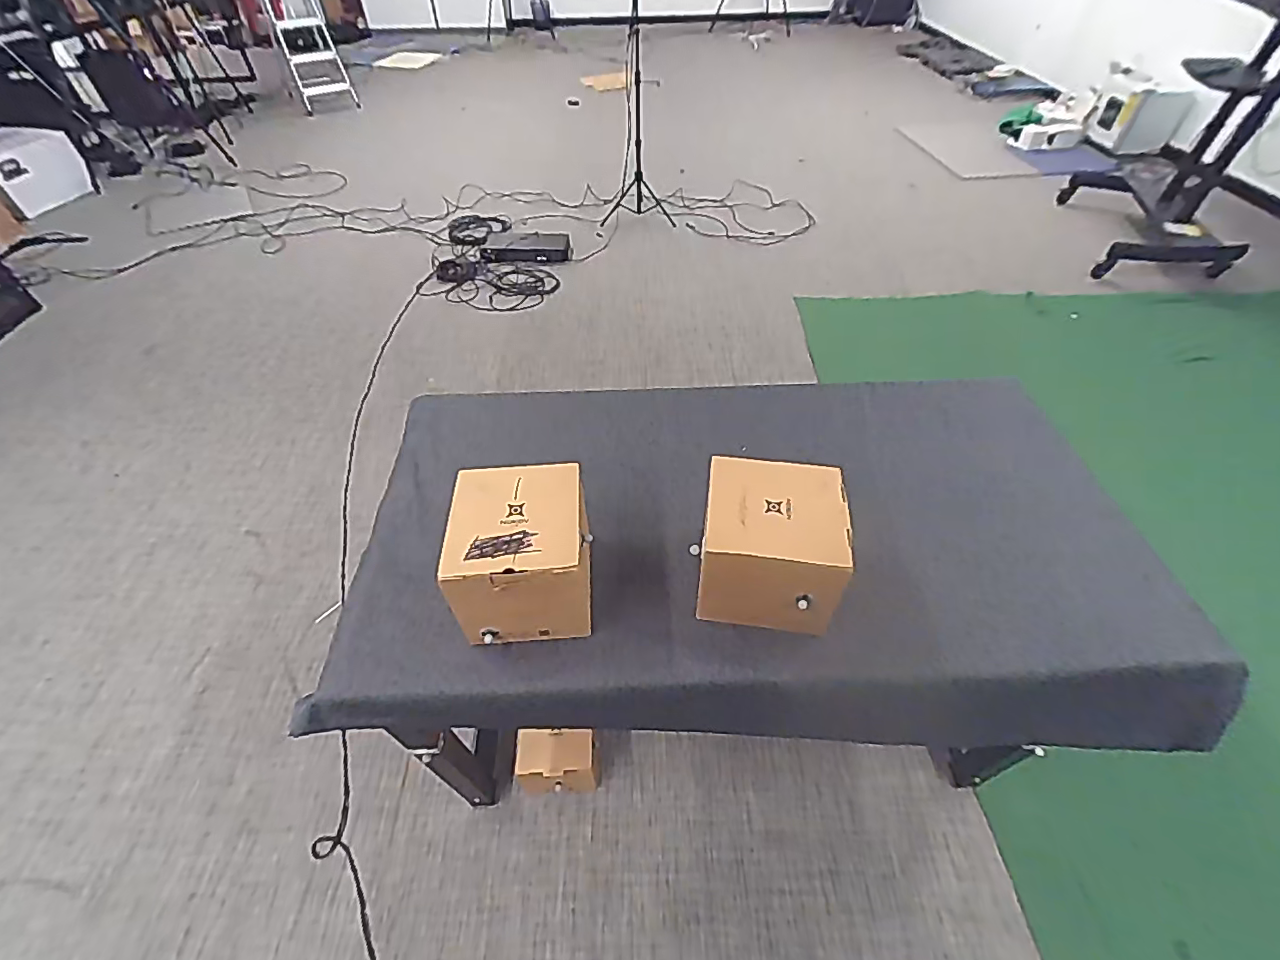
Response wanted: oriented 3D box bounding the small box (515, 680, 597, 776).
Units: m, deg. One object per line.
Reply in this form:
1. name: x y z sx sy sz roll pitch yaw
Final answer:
1. small box: -0.190 0.592 1.282 0.168 0.176 0.179 -1 49 -1

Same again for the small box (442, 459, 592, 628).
1. small box: -0.154 0.093 0.746 0.168 0.176 0.179 -2 47 -2

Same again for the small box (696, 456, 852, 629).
1. small box: 0.176 0.090 0.752 0.179 0.176 0.168 6 48 7
